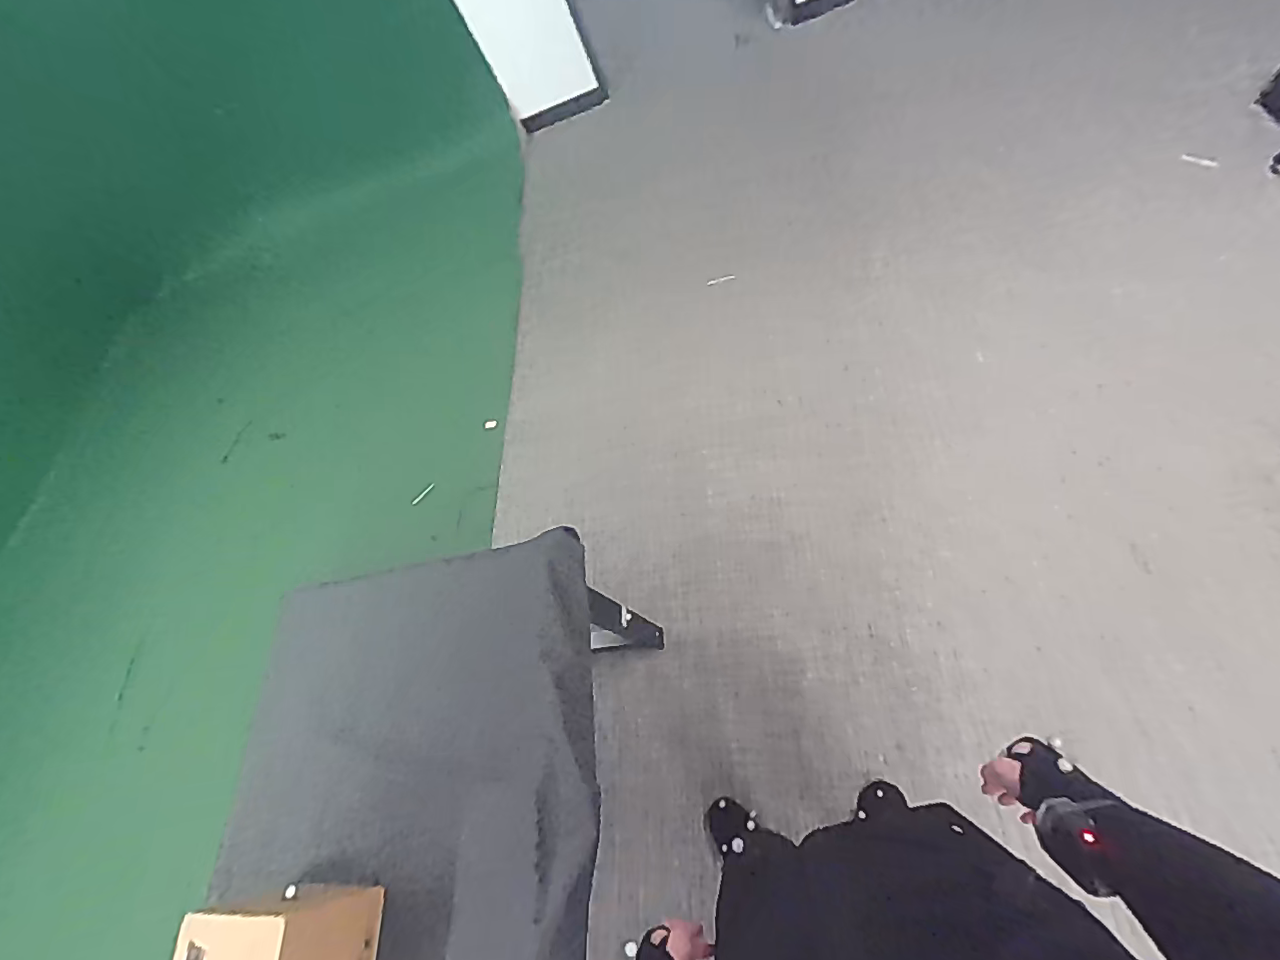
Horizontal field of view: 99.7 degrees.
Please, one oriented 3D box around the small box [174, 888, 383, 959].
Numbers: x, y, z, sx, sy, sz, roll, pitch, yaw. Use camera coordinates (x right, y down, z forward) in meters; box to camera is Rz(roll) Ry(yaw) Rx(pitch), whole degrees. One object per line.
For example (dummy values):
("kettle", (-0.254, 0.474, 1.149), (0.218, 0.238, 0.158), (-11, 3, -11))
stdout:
("small box", (-0.478, 0.654, 0.707), (0.179, 0.176, 0.168), (-10, 62, 15))
